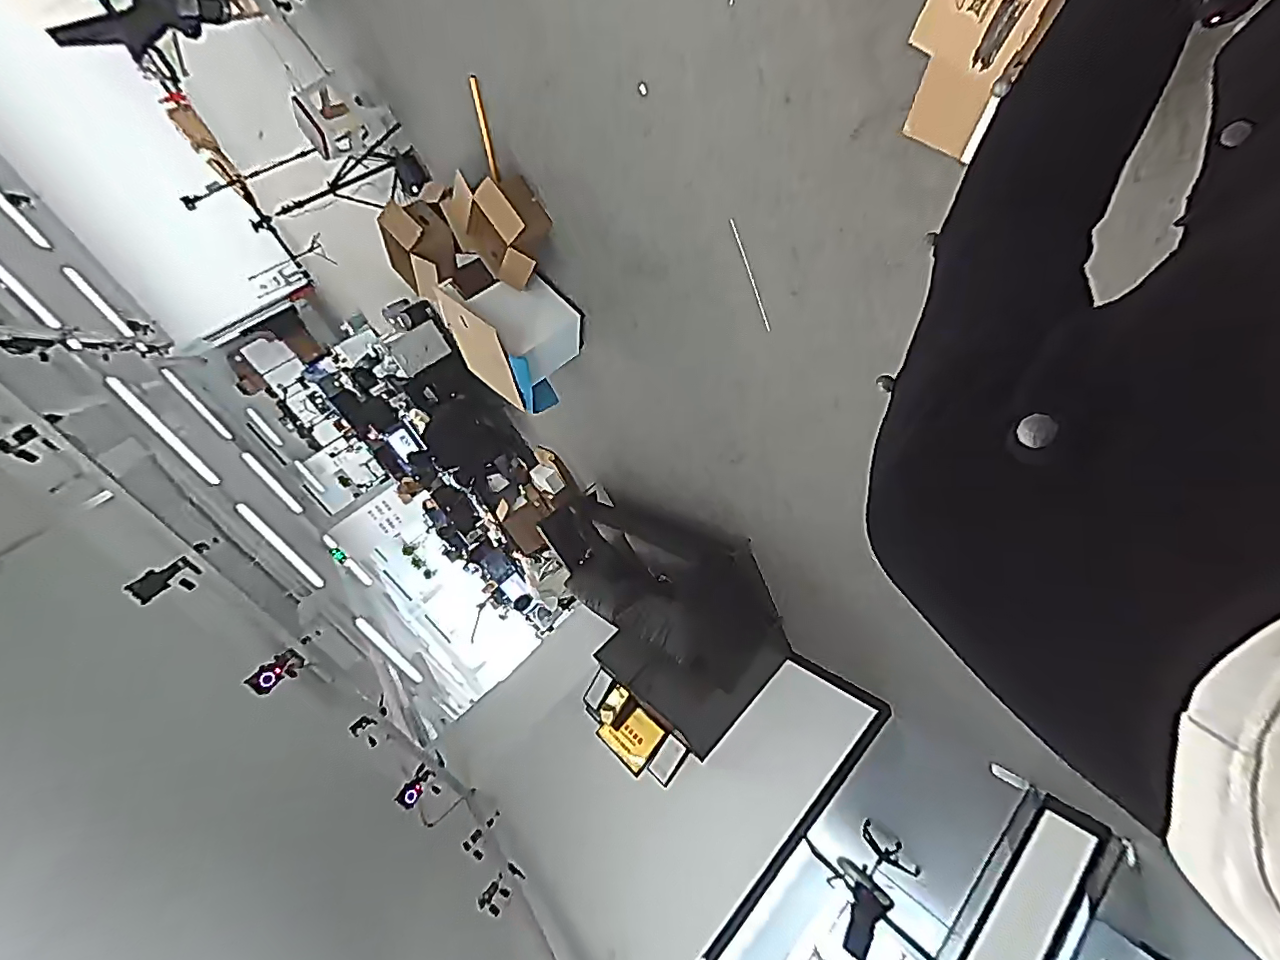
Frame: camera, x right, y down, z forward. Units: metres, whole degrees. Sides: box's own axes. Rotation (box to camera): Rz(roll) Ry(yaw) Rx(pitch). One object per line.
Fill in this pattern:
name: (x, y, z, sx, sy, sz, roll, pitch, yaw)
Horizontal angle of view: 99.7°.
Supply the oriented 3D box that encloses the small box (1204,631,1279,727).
small box: (1.754, 0.558, 1.537, 0.179, 0.176, 0.168, 14, 139, 56)
